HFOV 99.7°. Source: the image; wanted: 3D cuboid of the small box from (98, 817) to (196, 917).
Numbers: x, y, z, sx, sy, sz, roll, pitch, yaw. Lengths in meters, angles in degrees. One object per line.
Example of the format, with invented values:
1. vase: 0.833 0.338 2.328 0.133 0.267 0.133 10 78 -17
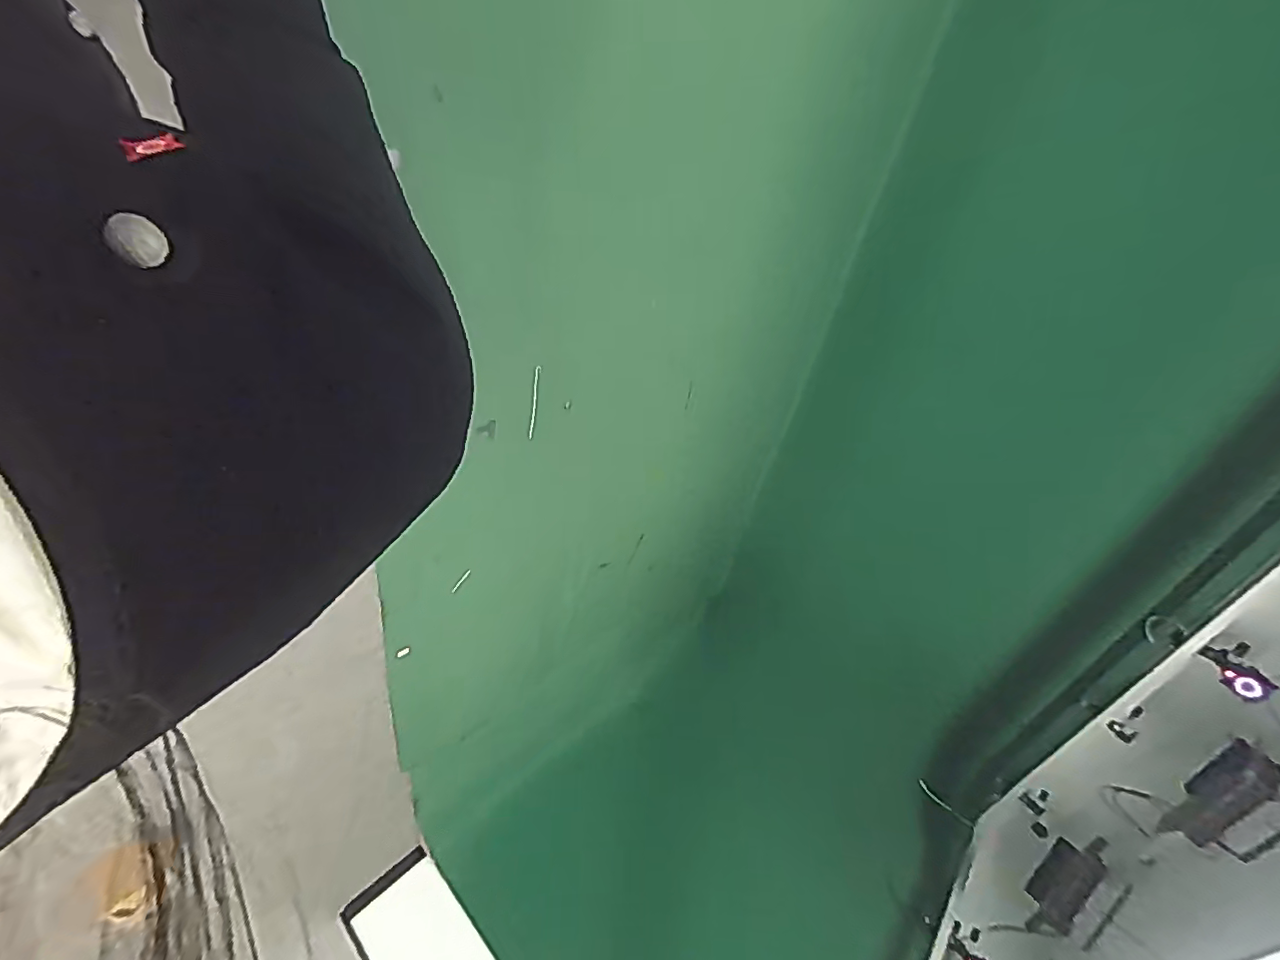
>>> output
1. small box: -1.593 1.244 1.743 0.179 0.176 0.168 -33 144 -34
